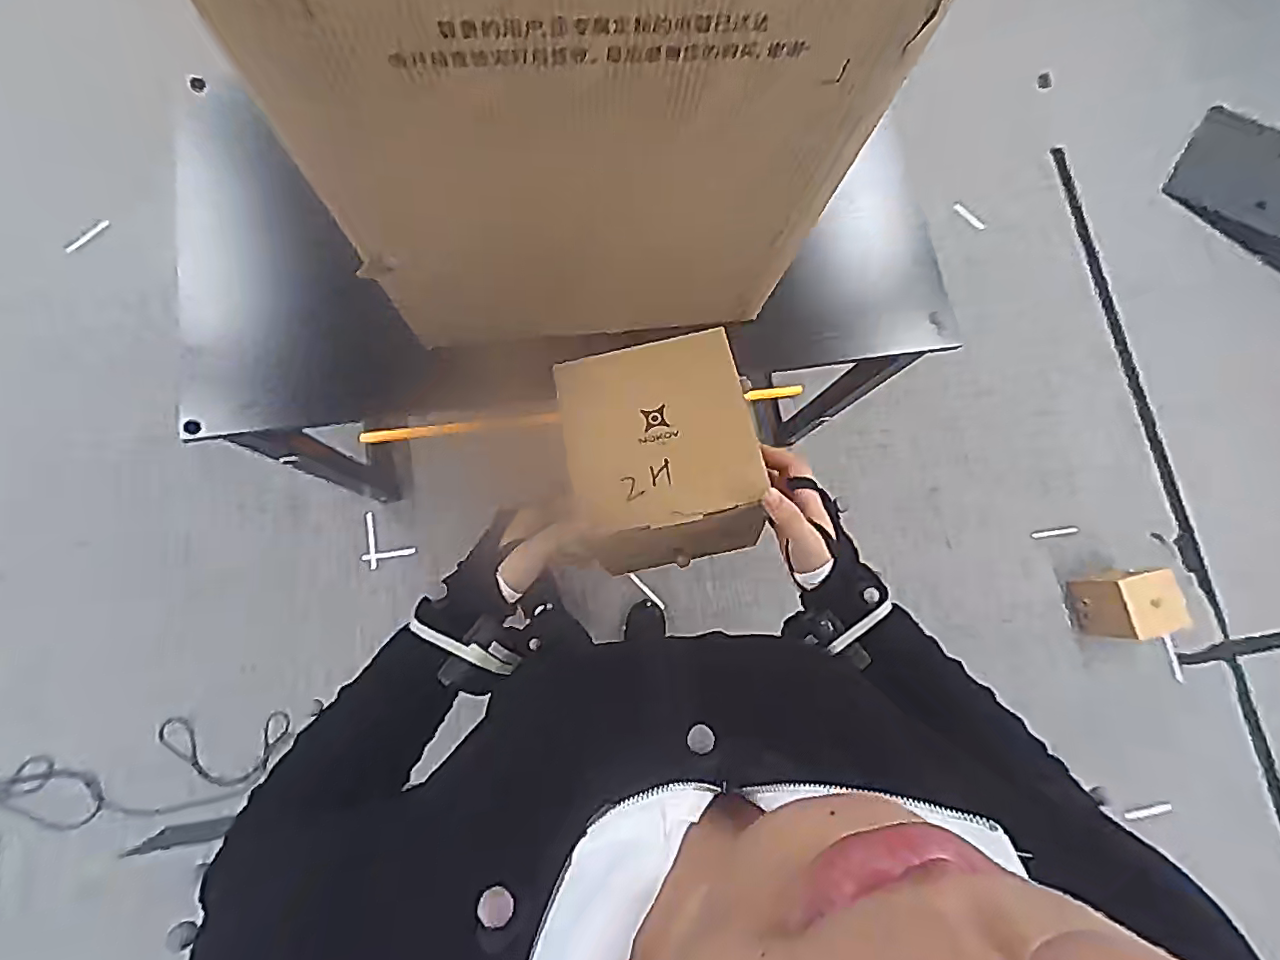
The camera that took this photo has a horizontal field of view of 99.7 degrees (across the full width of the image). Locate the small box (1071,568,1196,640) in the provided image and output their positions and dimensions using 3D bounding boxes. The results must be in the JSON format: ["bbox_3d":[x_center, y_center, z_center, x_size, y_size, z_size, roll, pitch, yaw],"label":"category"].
[{"bbox_3d":[1.395,0.348,1.539,0.179,0.176,0.168,-11,79,-6],"label":"small box"}]
